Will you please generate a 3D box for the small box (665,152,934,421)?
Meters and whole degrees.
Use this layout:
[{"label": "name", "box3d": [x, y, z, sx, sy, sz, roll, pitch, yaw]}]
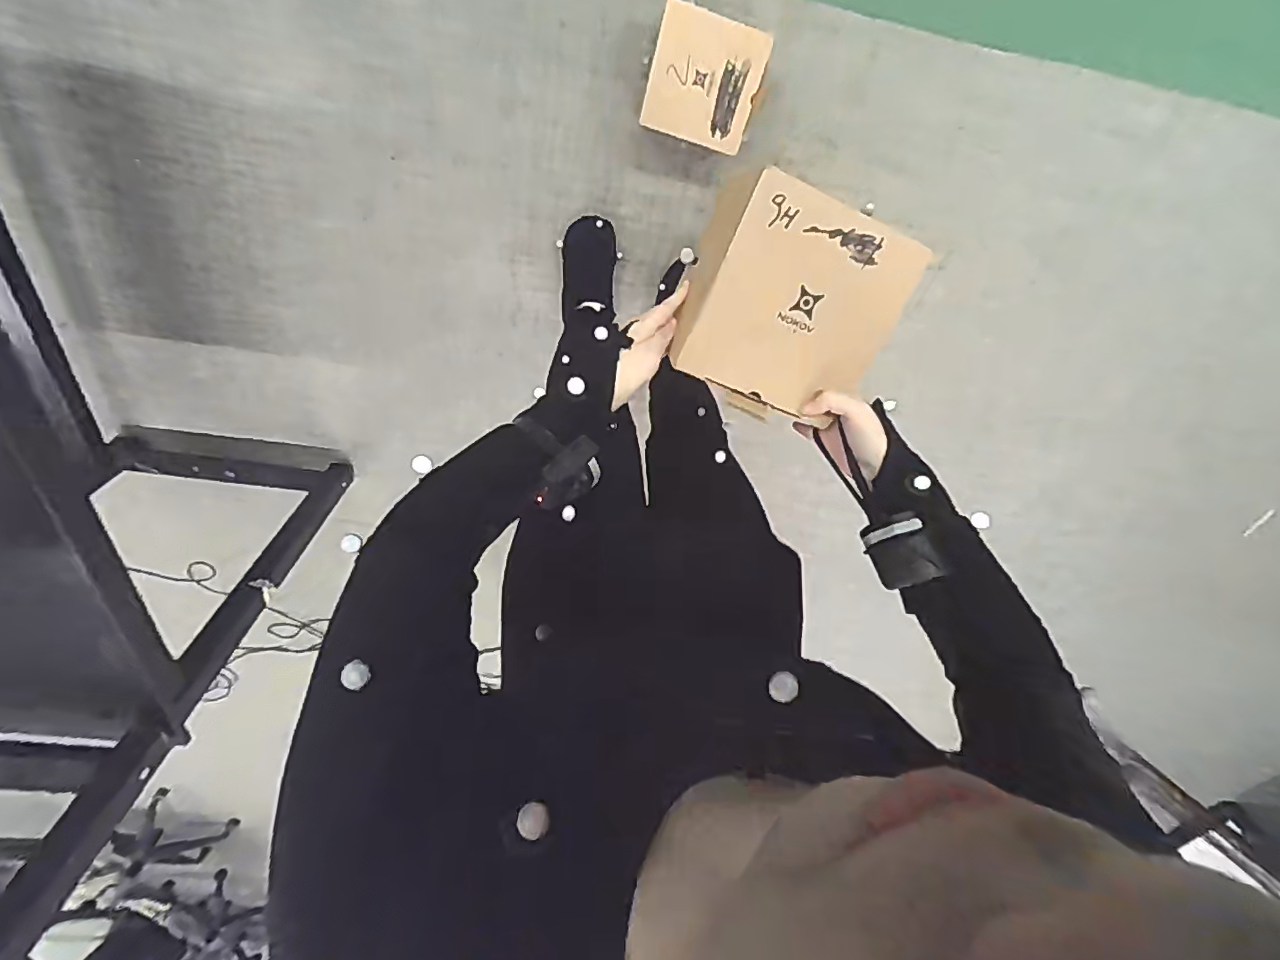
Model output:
[{"label": "small box", "box3d": [0.132, -0.188, 0.529, 0.168, 0.176, 0.179, 18, 115, -13]}]
